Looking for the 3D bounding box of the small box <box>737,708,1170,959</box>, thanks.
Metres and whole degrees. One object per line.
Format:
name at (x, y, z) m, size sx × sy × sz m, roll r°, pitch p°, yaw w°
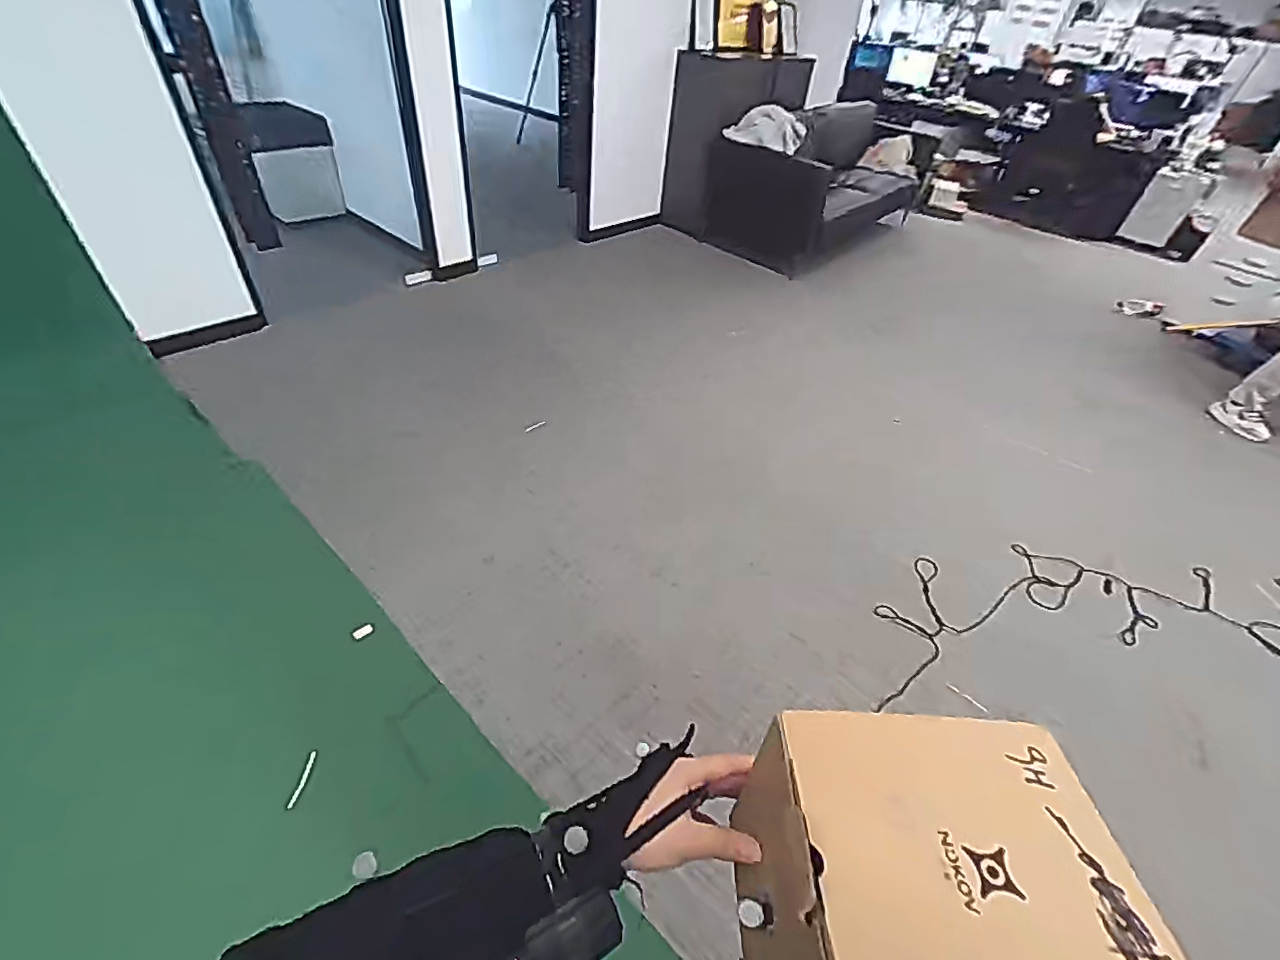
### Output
small box at (0.161, 0.264, 0.333) m, size 0.179 × 0.176 × 0.168 m, roll 4°, pitch 38°, yaw -2°
